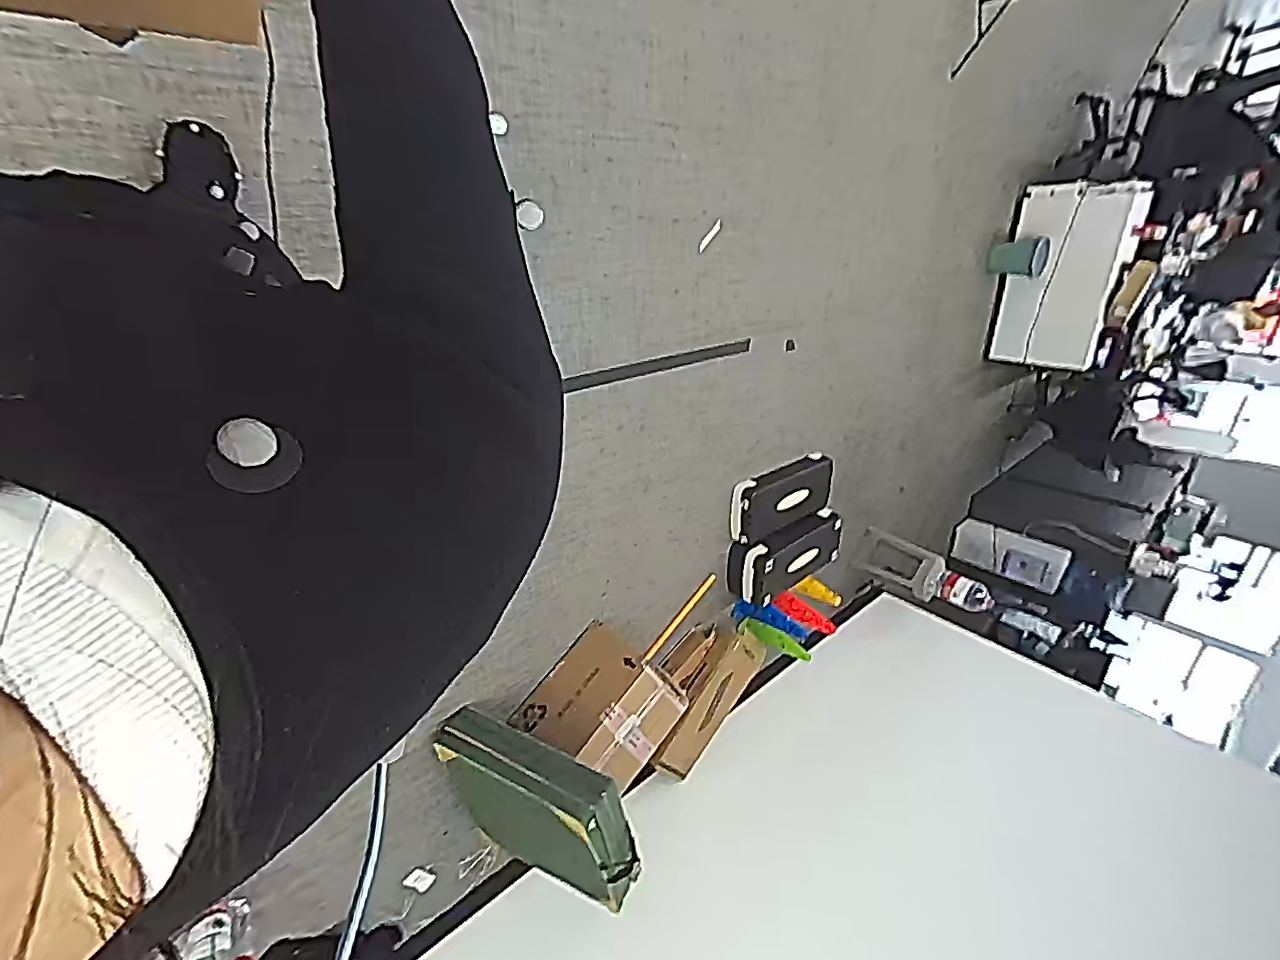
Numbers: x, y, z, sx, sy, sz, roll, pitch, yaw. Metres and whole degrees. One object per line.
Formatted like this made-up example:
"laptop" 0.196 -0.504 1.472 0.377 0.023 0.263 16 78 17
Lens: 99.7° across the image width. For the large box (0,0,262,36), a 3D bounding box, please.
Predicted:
"large box" -0.496 -0.527 0.315 0.408 0.320 0.320 -19 116 -33
